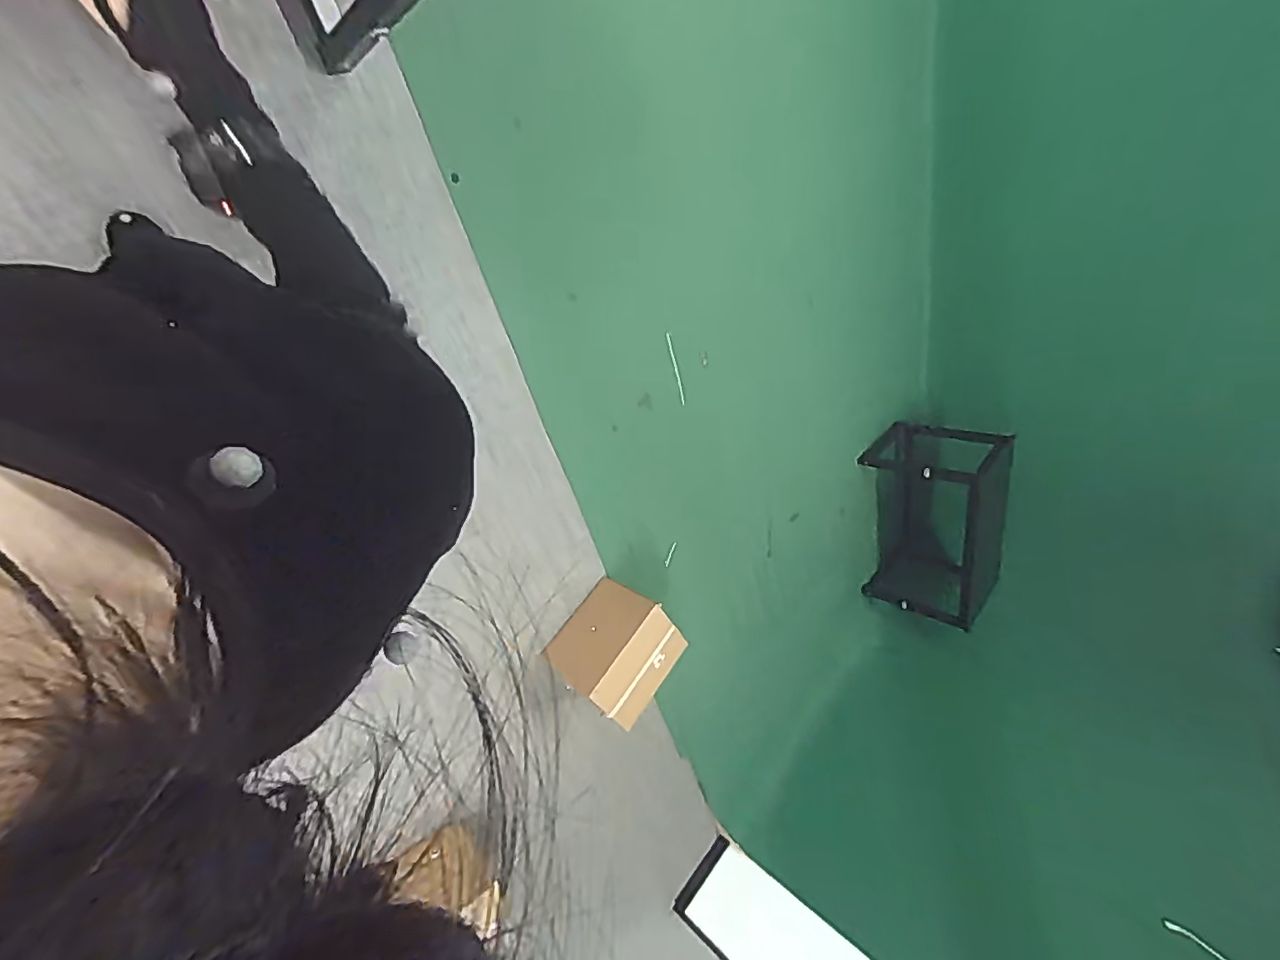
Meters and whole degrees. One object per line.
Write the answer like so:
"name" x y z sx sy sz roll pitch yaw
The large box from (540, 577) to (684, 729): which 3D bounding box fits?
"large box" -0.104 0.655 2.084 0.408 0.320 0.320 -51 132 -23
